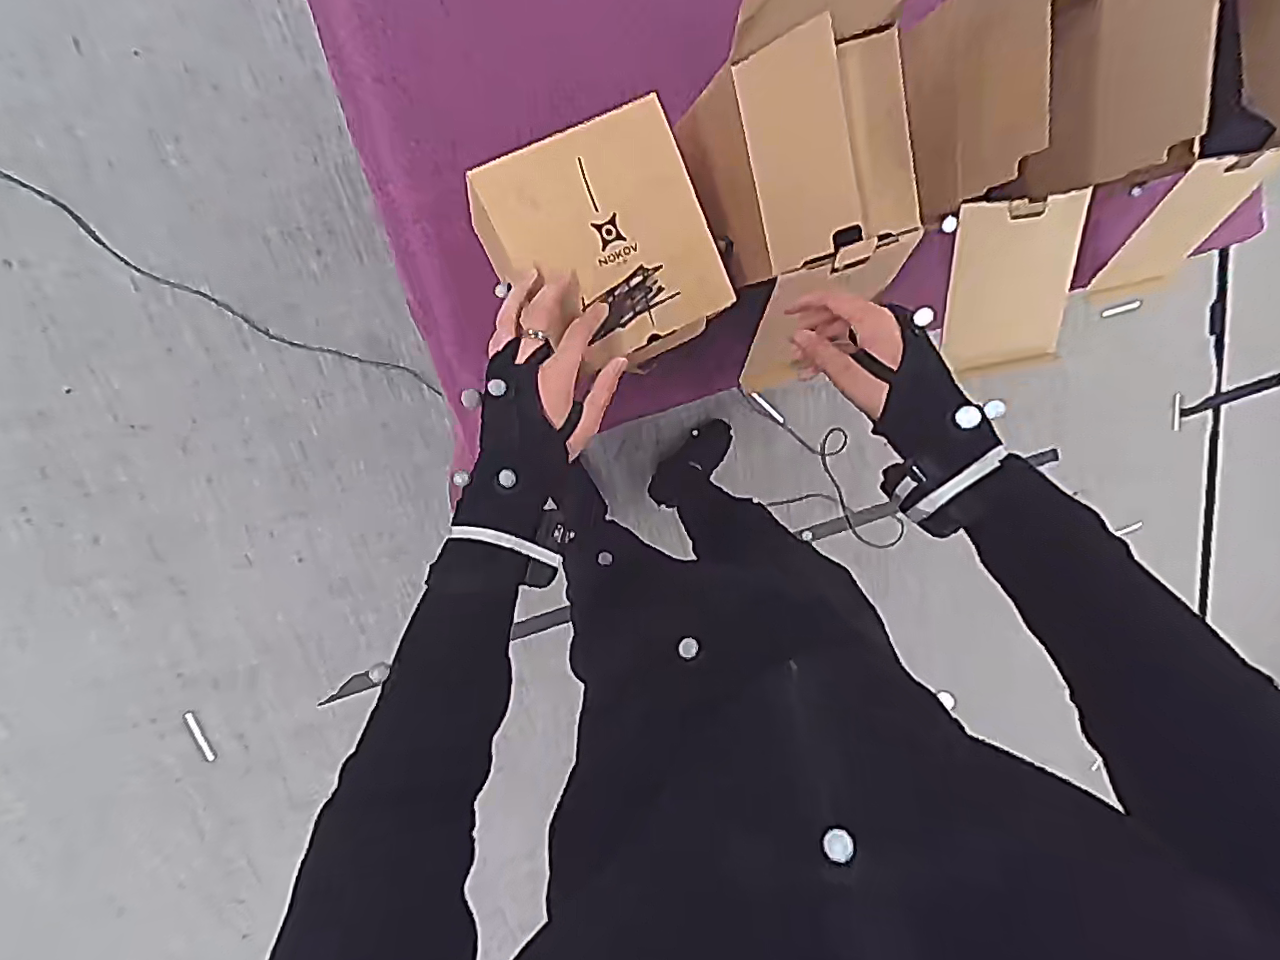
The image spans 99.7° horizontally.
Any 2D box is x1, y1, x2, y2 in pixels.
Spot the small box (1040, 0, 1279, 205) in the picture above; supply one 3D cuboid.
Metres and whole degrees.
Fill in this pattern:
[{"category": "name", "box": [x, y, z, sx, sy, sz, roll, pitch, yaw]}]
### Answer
[{"category": "small box", "box": [0.617, -0.452, 0.644, 0.168, 0.176, 0.179, -14, 106, -12]}]
